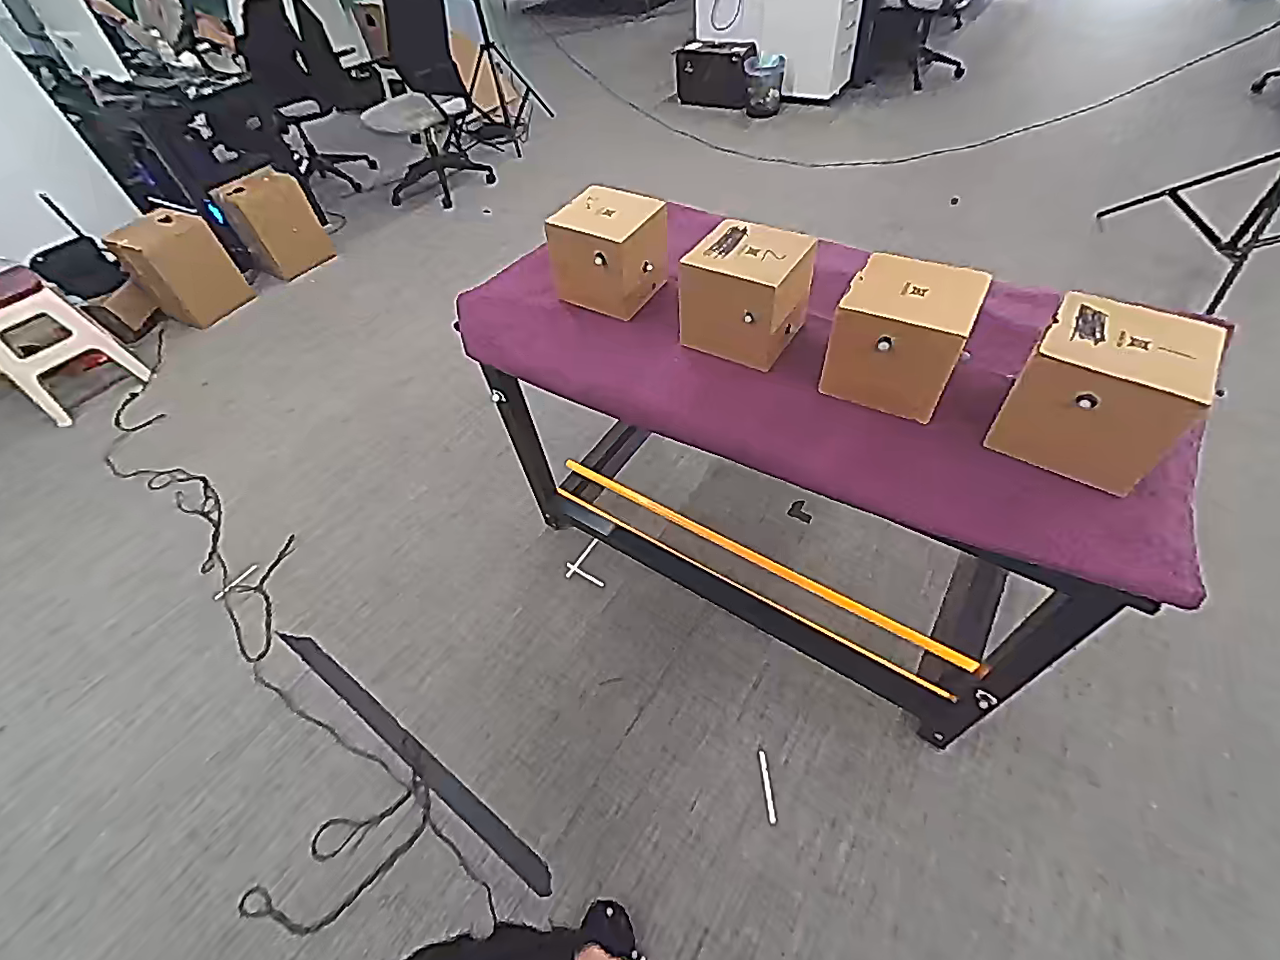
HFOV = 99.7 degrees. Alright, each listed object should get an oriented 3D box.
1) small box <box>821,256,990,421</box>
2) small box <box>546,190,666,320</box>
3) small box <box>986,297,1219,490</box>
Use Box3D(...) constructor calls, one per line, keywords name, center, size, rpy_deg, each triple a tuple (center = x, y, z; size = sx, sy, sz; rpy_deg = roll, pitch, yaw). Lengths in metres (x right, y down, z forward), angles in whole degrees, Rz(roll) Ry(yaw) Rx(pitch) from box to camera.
Box3D(name="small box", center=(0.405, -0.217, 0.847), size=(0.179, 0.176, 0.168), rpy_deg=(23, 57, 24))
Box3D(name="small box", center=(-0.059, -0.446, 1.085), size=(0.179, 0.176, 0.168), rpy_deg=(24, 57, 21))
Box3D(name="small box", center=(0.608, -0.115, 0.731), size=(0.179, 0.176, 0.168), rpy_deg=(29, 58, 26))
